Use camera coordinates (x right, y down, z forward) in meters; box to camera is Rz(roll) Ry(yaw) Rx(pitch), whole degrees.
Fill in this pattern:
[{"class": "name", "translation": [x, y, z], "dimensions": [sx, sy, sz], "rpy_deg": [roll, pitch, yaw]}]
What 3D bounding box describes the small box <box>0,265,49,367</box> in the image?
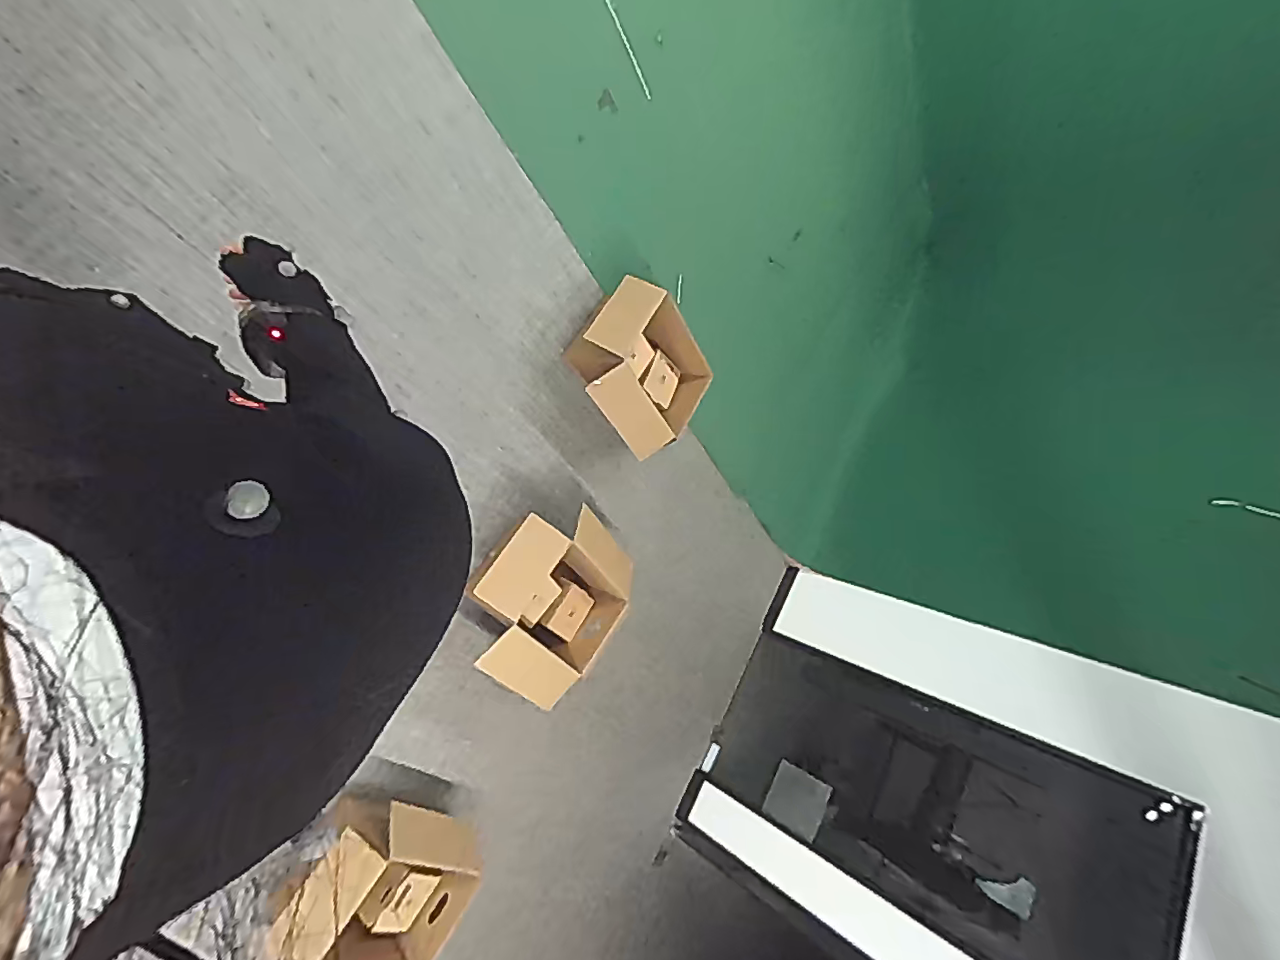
[{"class": "small box", "translation": [-1.141, -0.290, 0.866], "dimensions": [0.179, 0.176, 0.168], "rpy_deg": [31, 94, -26]}]
